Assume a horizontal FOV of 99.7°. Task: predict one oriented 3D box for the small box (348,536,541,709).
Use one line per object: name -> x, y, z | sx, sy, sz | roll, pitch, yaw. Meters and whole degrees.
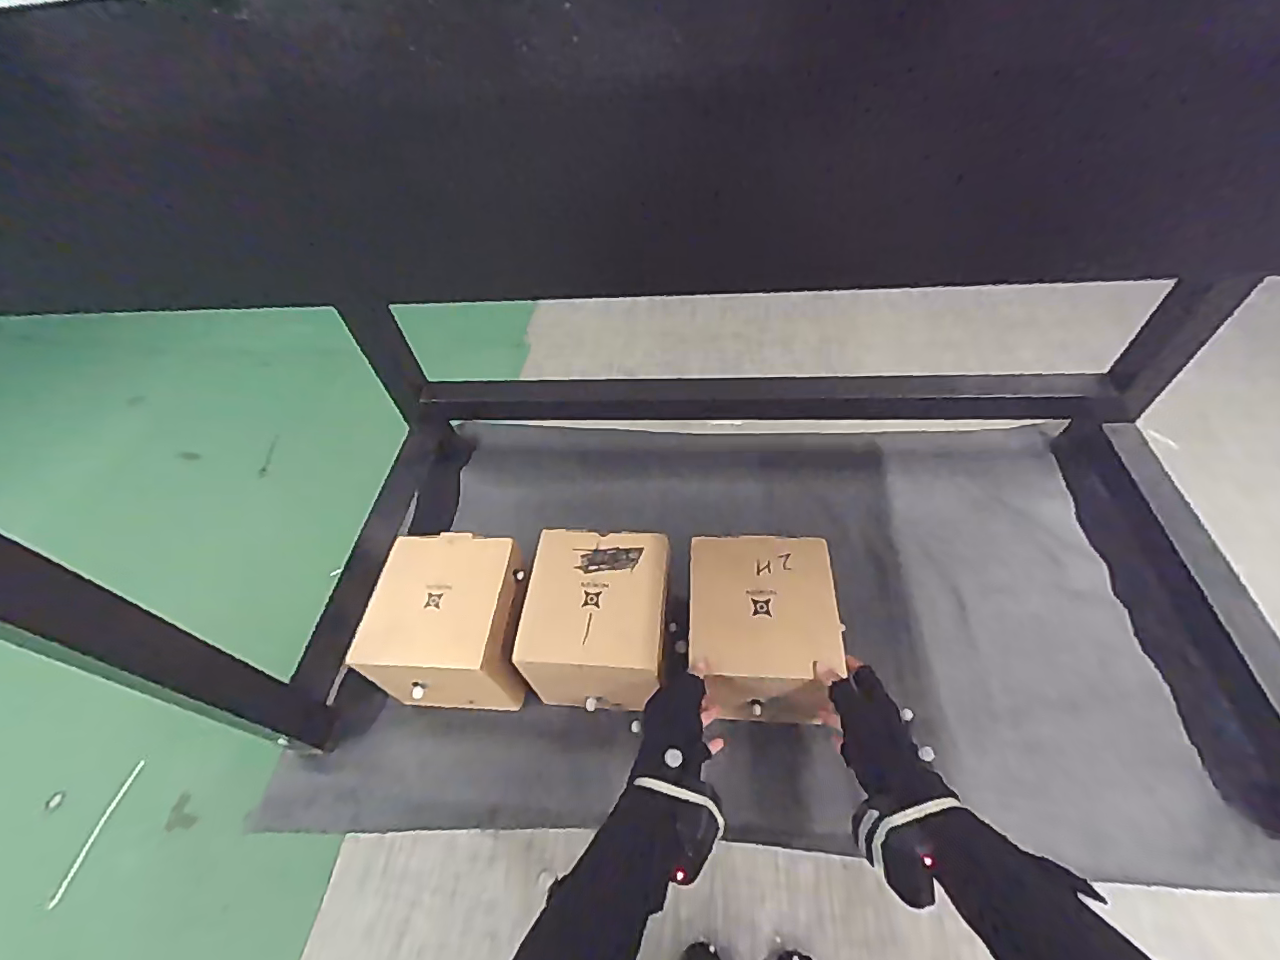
small box -> -0.242, 0.193, 0.723 | 0.168, 0.176, 0.179 | 0, 51, 7
